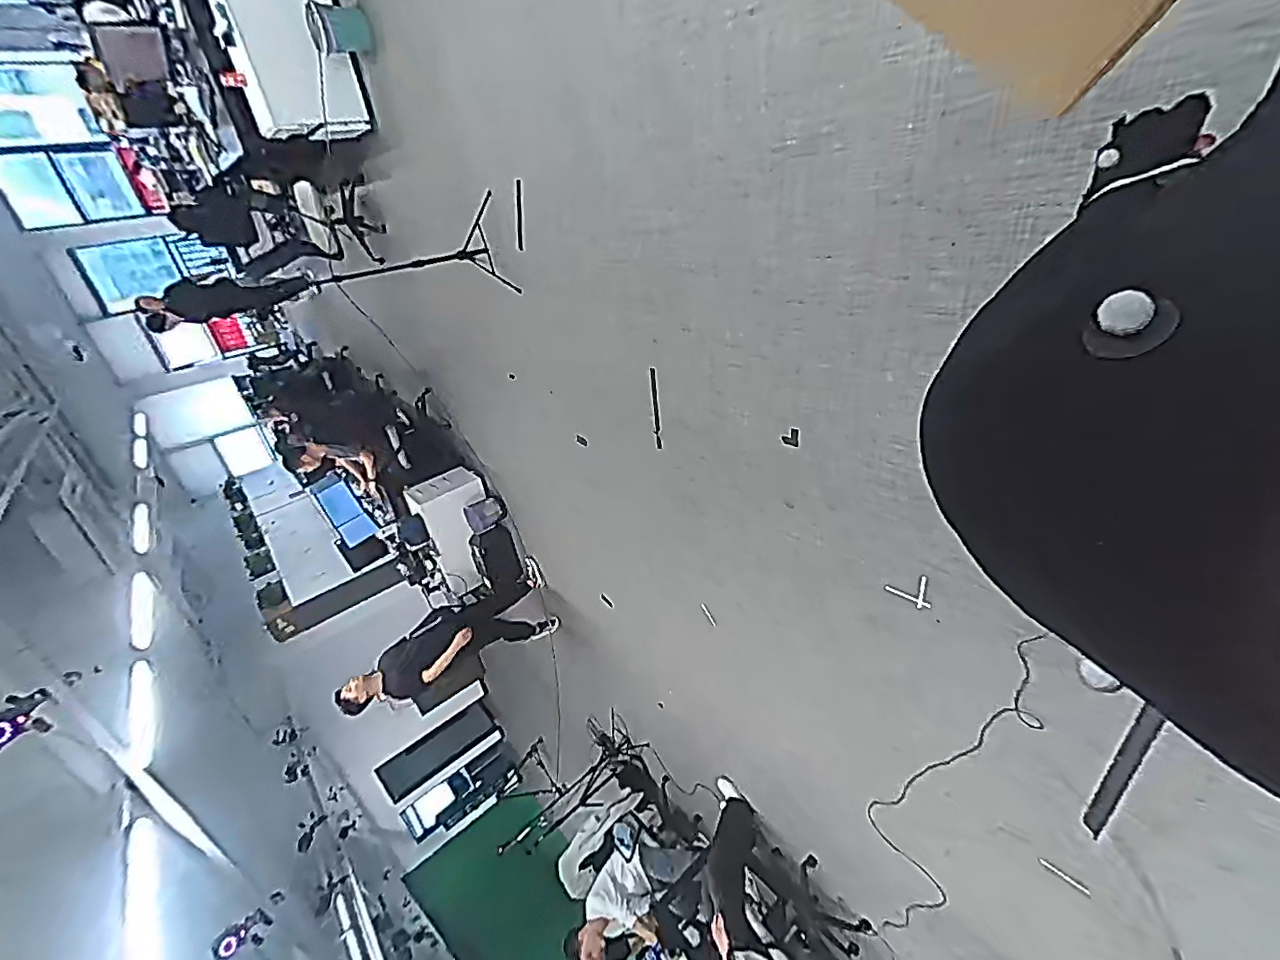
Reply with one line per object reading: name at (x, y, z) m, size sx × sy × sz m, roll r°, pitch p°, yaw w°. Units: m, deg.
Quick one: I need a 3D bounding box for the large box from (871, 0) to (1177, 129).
large box at (0.392, -0.575, 0.439) m, size 0.320 × 0.408 × 0.320 m, roll 44°, pitch 119°, yaw 6°
